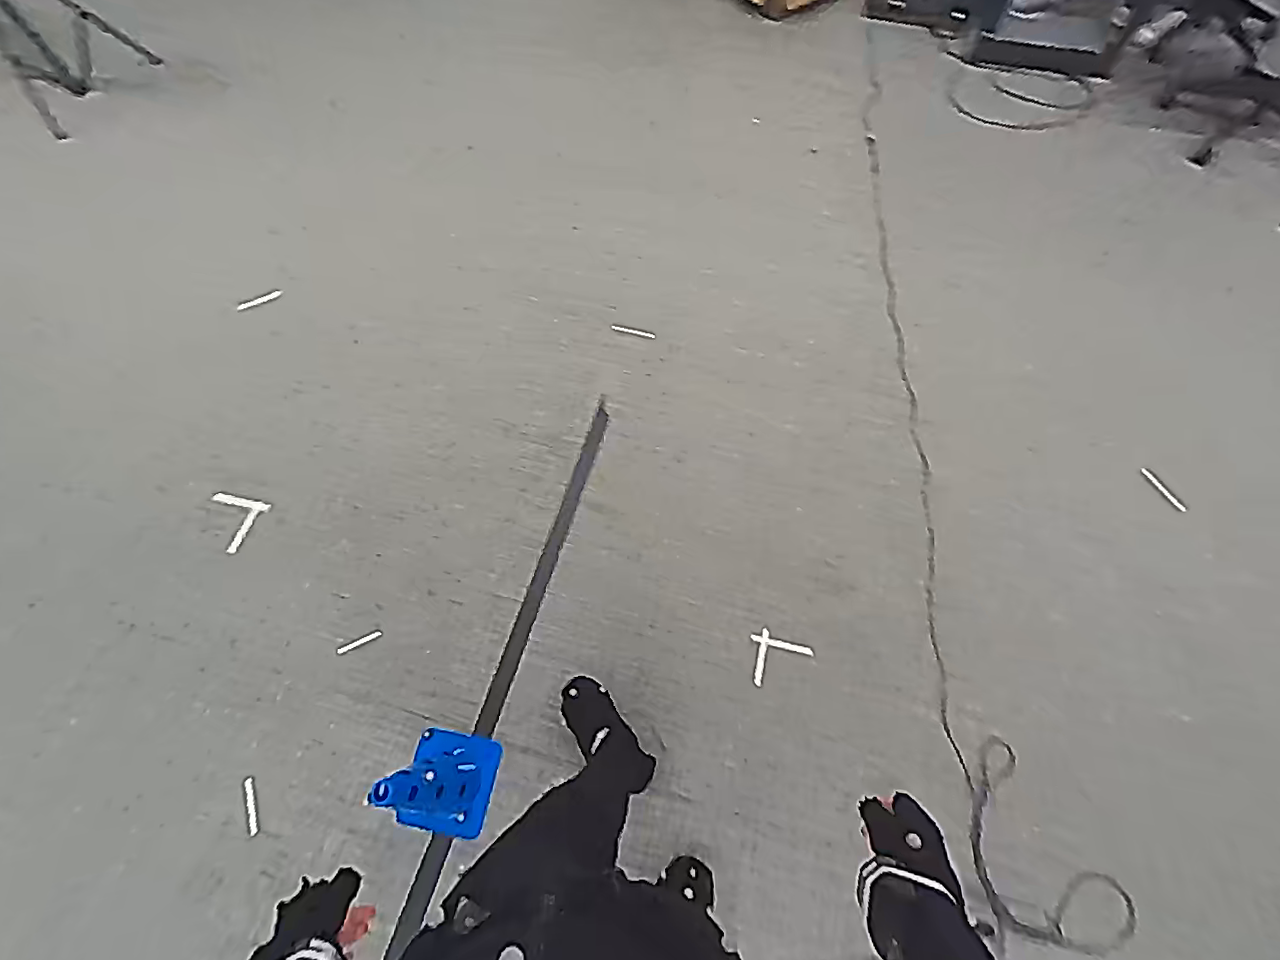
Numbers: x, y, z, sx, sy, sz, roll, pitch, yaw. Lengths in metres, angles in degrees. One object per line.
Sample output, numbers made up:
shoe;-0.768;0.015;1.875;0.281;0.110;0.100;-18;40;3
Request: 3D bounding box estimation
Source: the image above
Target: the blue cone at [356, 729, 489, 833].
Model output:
blue cone;-0.455;0.611;1.090;0.192;0.380;0.193;11;64;7
